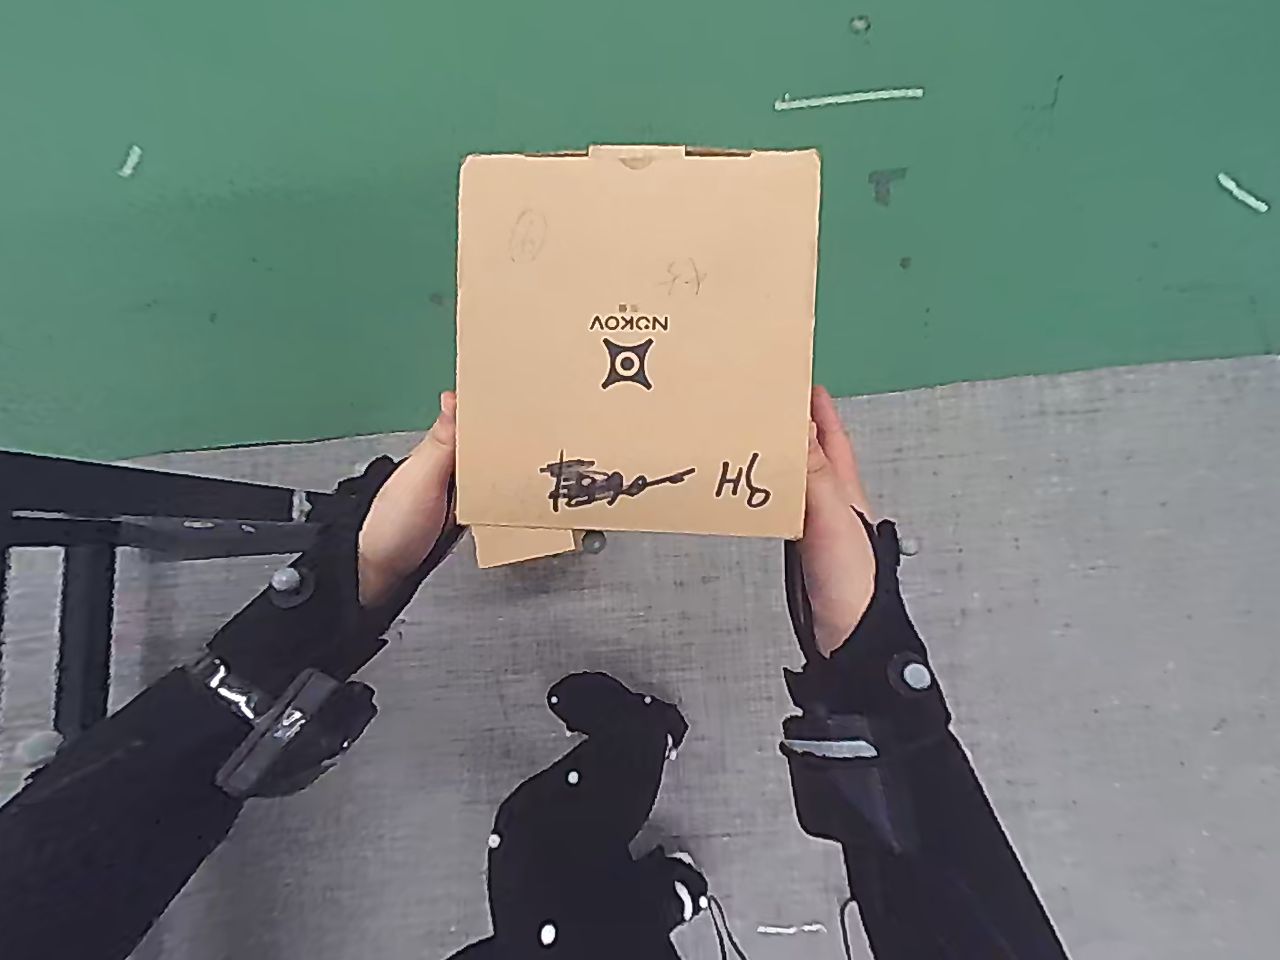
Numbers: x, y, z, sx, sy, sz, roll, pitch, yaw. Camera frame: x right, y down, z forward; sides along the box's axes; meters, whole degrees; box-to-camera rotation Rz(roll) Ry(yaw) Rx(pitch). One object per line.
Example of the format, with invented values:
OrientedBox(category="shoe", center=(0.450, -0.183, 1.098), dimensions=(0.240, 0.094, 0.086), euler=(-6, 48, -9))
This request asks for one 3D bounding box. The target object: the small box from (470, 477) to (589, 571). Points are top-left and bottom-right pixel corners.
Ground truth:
OrientedBox(category="small box", center=(-0.198, 0.070, 1.019), dimensions=(0.179, 0.176, 0.168), euler=(-12, 82, 1))

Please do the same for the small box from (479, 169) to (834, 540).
OrientedBox(category="small box", center=(0.012, -0.062, 0.339), dimensions=(0.168, 0.176, 0.179), euler=(2, 91, 5))
